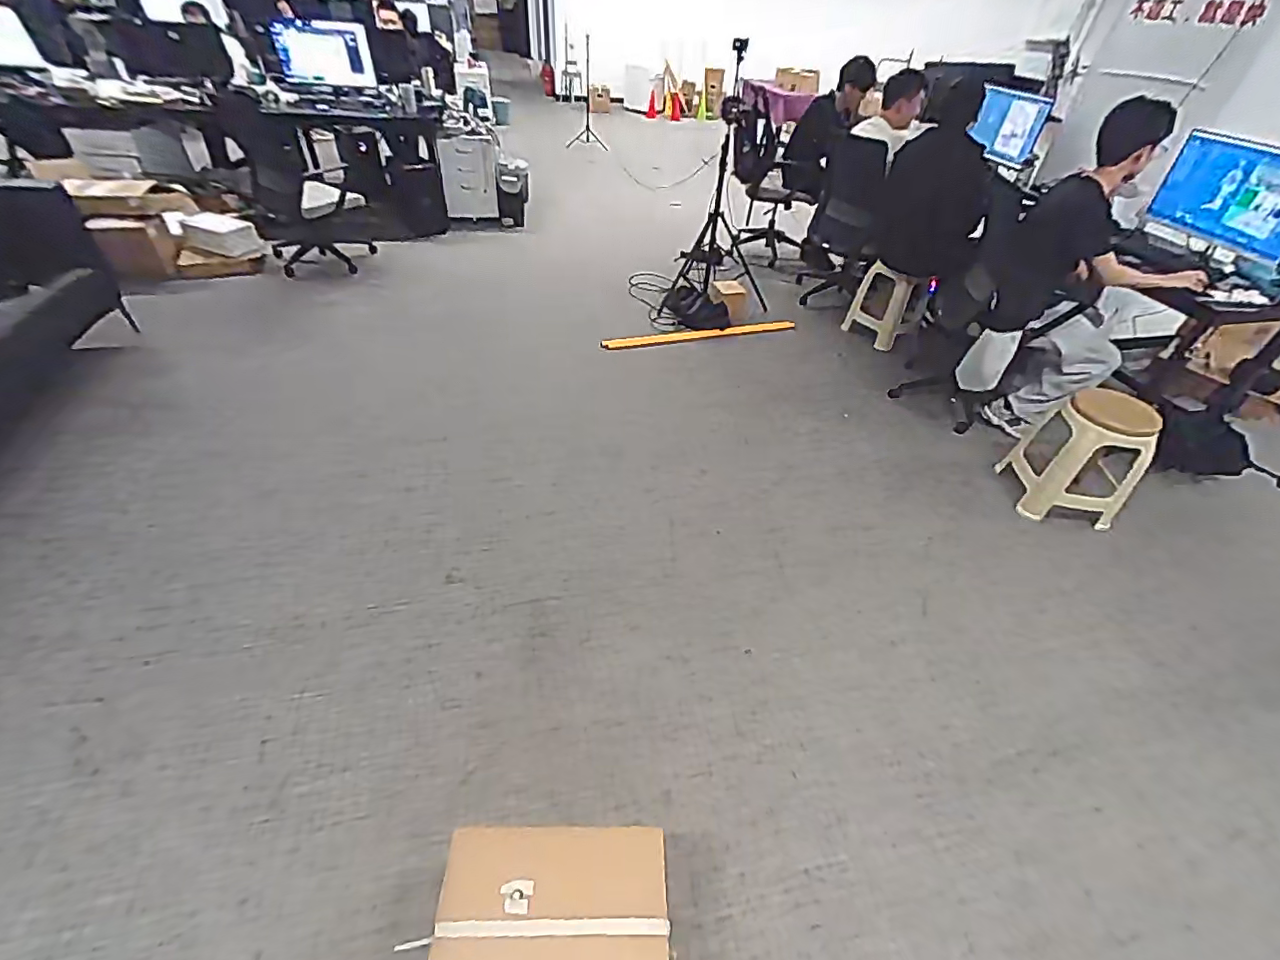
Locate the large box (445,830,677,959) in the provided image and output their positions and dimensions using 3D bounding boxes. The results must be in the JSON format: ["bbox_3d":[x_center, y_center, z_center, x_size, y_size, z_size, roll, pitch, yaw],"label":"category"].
[{"bbox_3d":[-0.138,0.904,1.048,0.408,0.320,0.320,1,42,-1],"label":"large box"}]
